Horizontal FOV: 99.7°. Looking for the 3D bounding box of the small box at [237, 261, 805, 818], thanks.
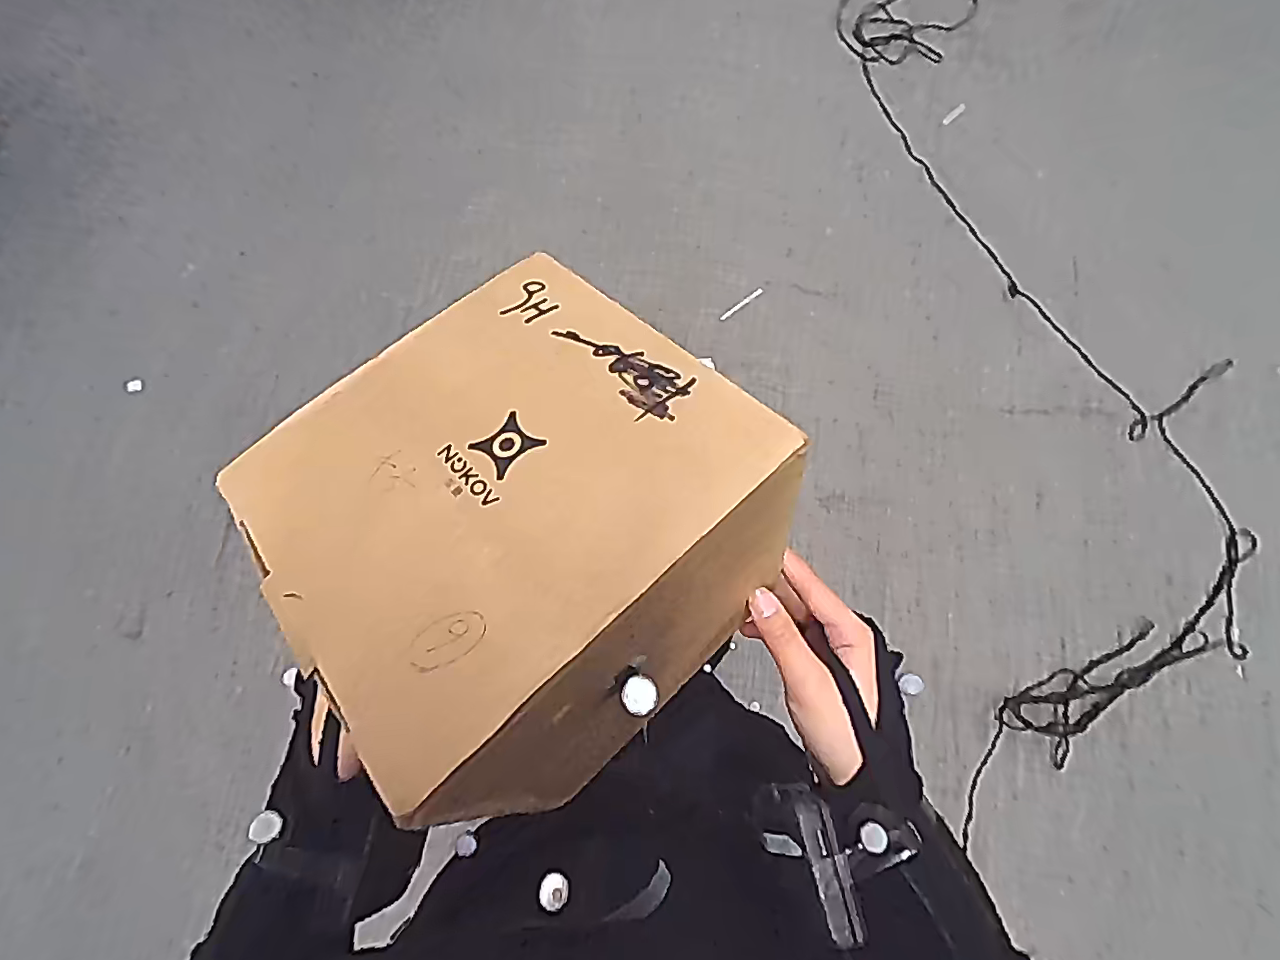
[{"bbox_3d":[-0.041,0.035,0.276,0.179,0.176,0.168,-41,62,-13],"label":"small box"}]
